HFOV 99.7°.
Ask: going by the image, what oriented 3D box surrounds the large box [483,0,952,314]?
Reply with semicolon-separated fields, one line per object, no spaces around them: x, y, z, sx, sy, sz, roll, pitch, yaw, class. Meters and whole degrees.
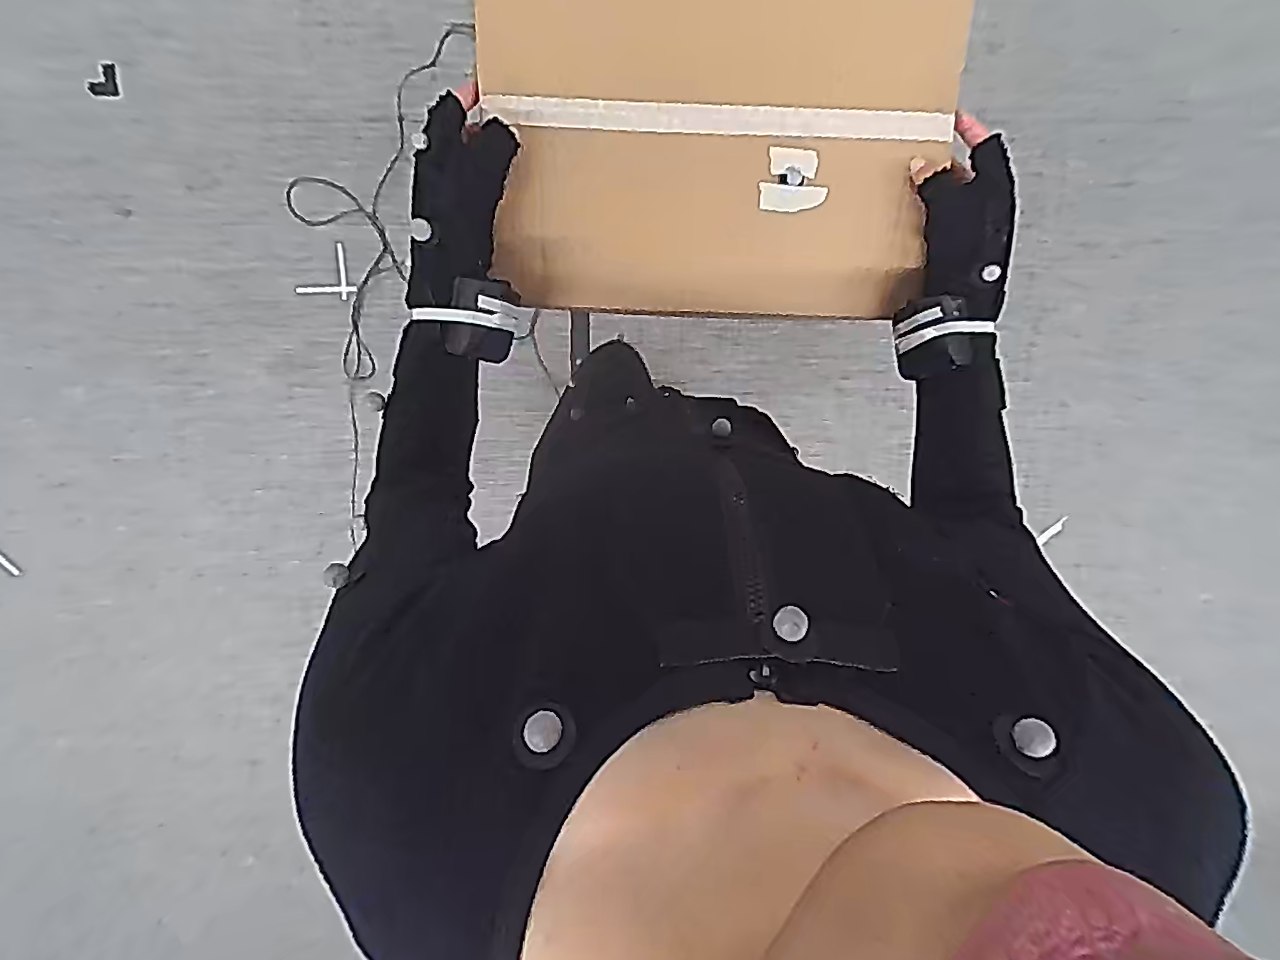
0.060;-0.357;0.622;0.408;0.320;0.320;1;106;-2;large box
